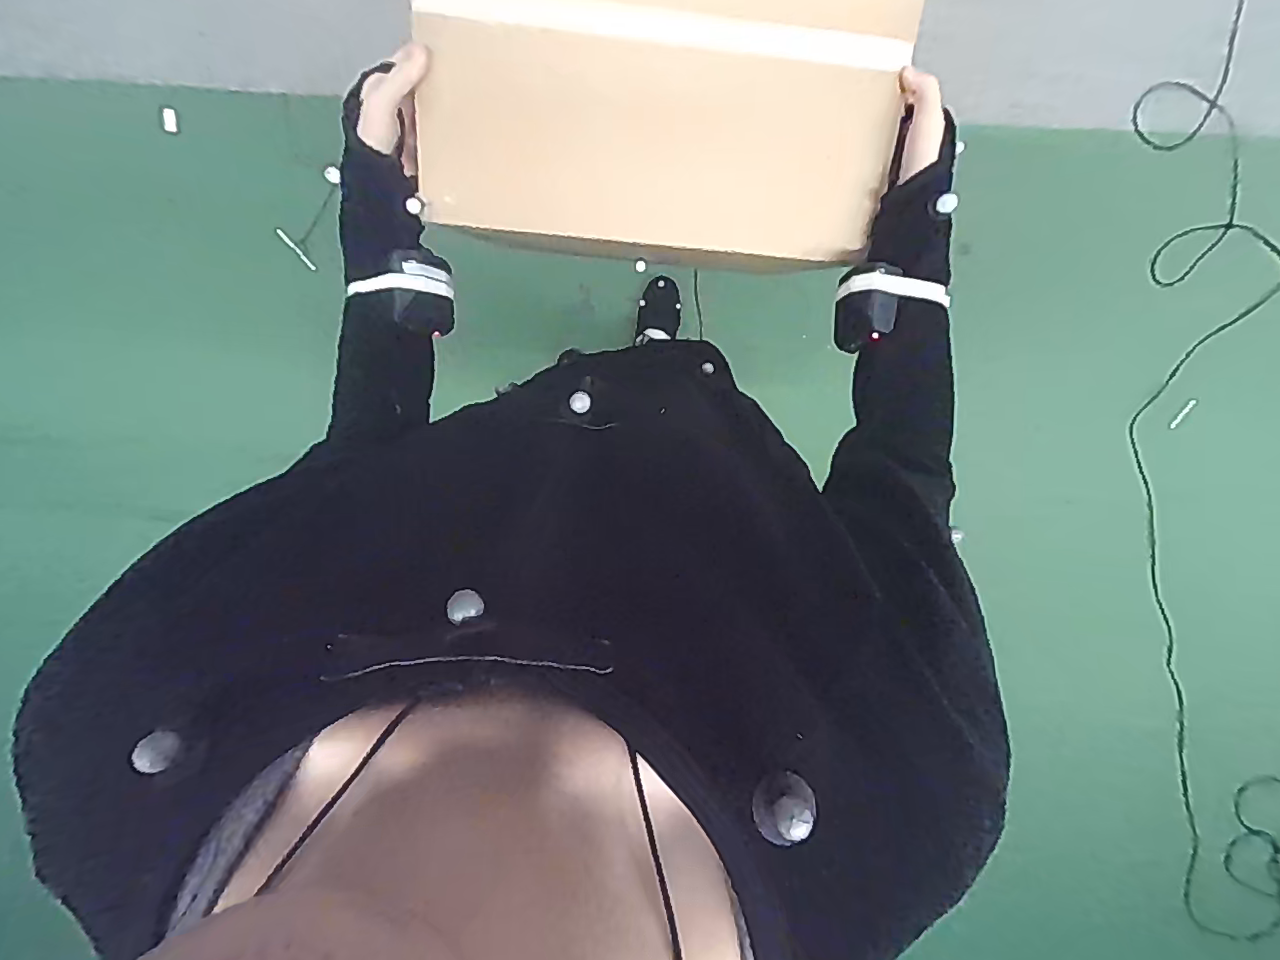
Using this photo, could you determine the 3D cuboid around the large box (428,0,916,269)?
[{"bbox_3d":[0.021,-0.408,0.589,0.408,0.320,0.320,4,108,-4],"label":"large box"}]
